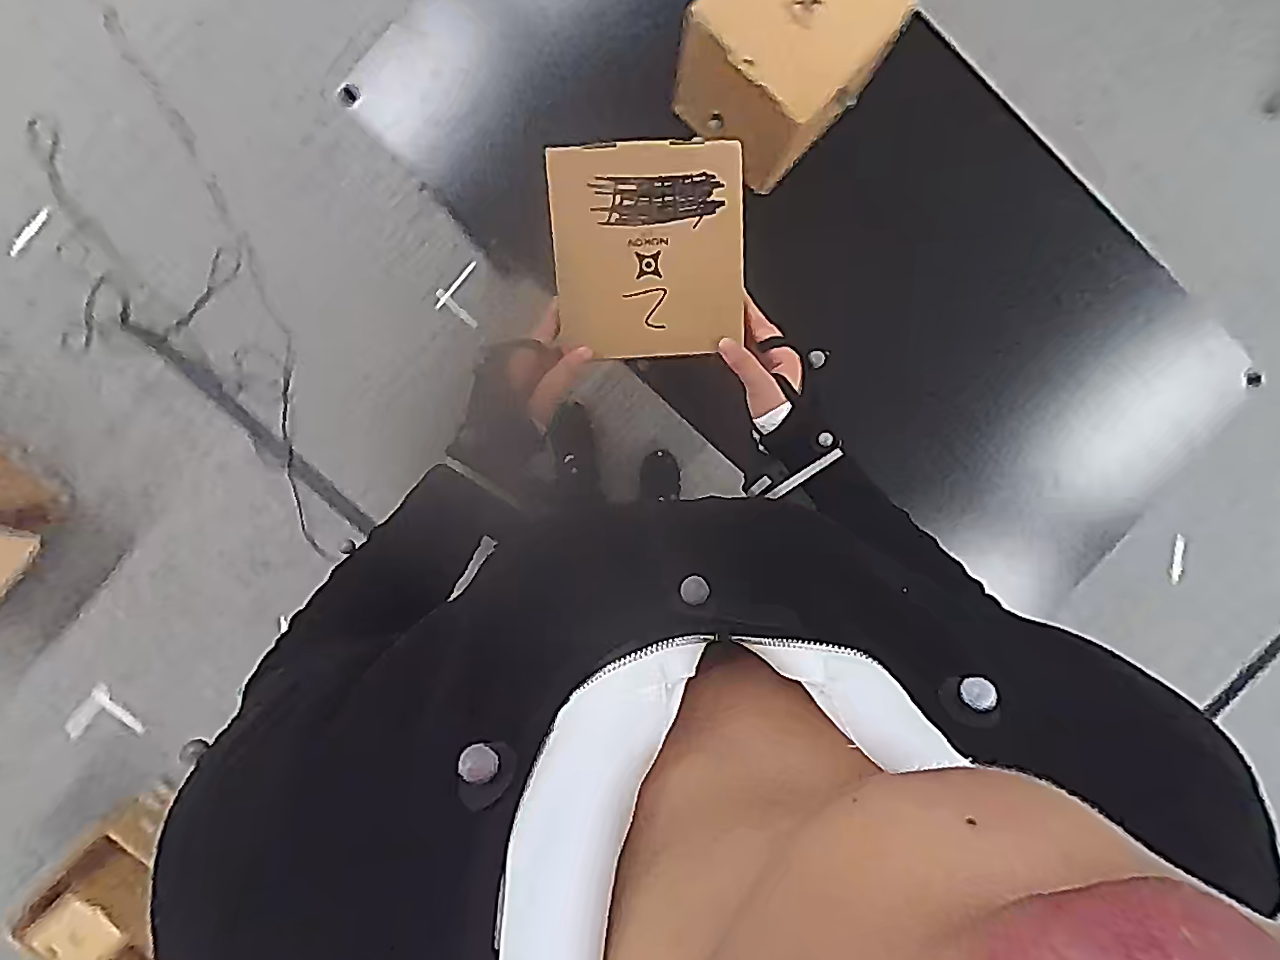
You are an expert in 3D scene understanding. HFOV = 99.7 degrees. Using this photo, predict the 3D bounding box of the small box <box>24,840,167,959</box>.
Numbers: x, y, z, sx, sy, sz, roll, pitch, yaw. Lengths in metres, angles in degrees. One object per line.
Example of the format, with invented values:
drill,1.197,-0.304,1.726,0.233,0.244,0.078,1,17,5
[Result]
small box,-1.402,1.100,1.413,0.179,0.176,0.168,-43,96,0

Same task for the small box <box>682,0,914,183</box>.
small box,0.165,-0.500,0.633,0.168,0.176,0.179,43,93,-5
